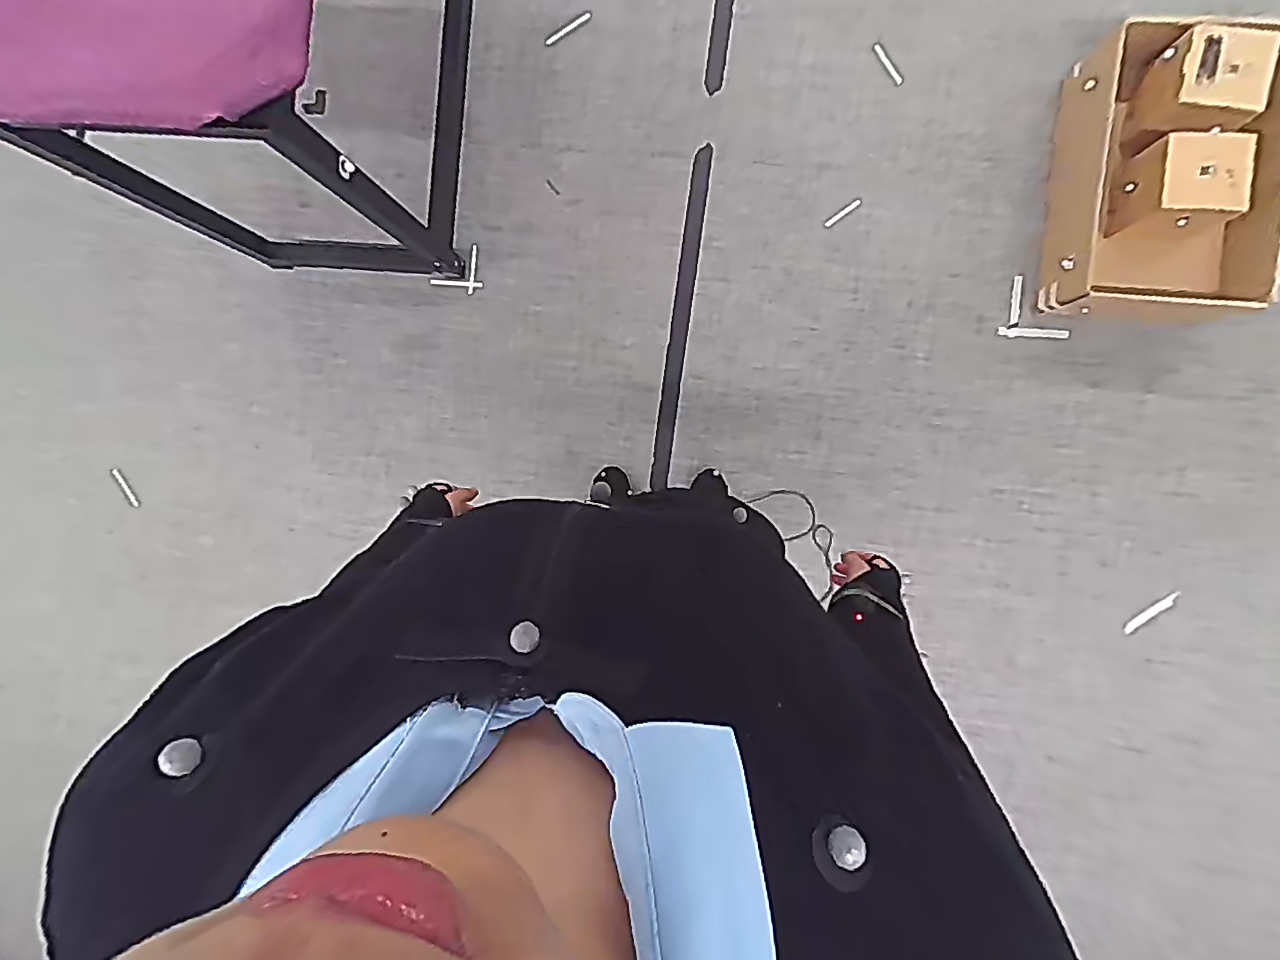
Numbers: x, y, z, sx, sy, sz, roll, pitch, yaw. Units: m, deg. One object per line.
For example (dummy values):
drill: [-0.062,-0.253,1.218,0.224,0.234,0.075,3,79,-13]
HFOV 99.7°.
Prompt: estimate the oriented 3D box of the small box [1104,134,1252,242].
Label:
small box: [1.232,-0.667,1.252,0.179,0.176,0.168,5,92,5]
